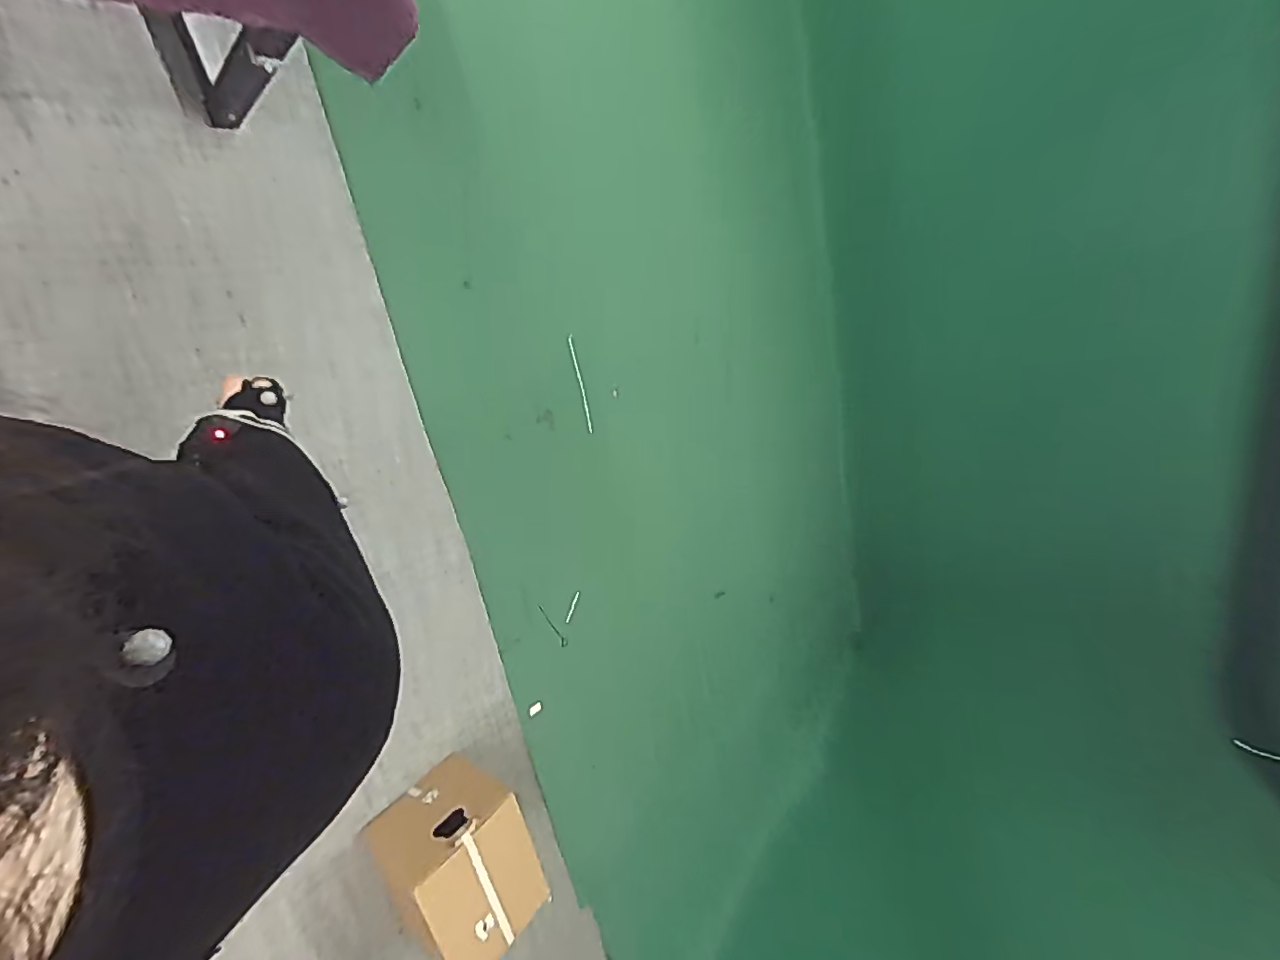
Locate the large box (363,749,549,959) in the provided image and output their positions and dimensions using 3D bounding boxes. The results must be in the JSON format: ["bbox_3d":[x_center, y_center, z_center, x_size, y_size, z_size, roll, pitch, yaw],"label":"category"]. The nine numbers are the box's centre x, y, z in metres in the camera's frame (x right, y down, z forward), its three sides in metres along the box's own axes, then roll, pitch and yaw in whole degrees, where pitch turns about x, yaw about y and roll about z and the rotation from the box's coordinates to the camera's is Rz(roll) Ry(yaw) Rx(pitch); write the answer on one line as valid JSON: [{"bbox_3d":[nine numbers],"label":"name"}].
[{"bbox_3d":[-0.522,1.082,1.559,0.320,0.320,0.408,-31,115,-45],"label":"large box"}]
